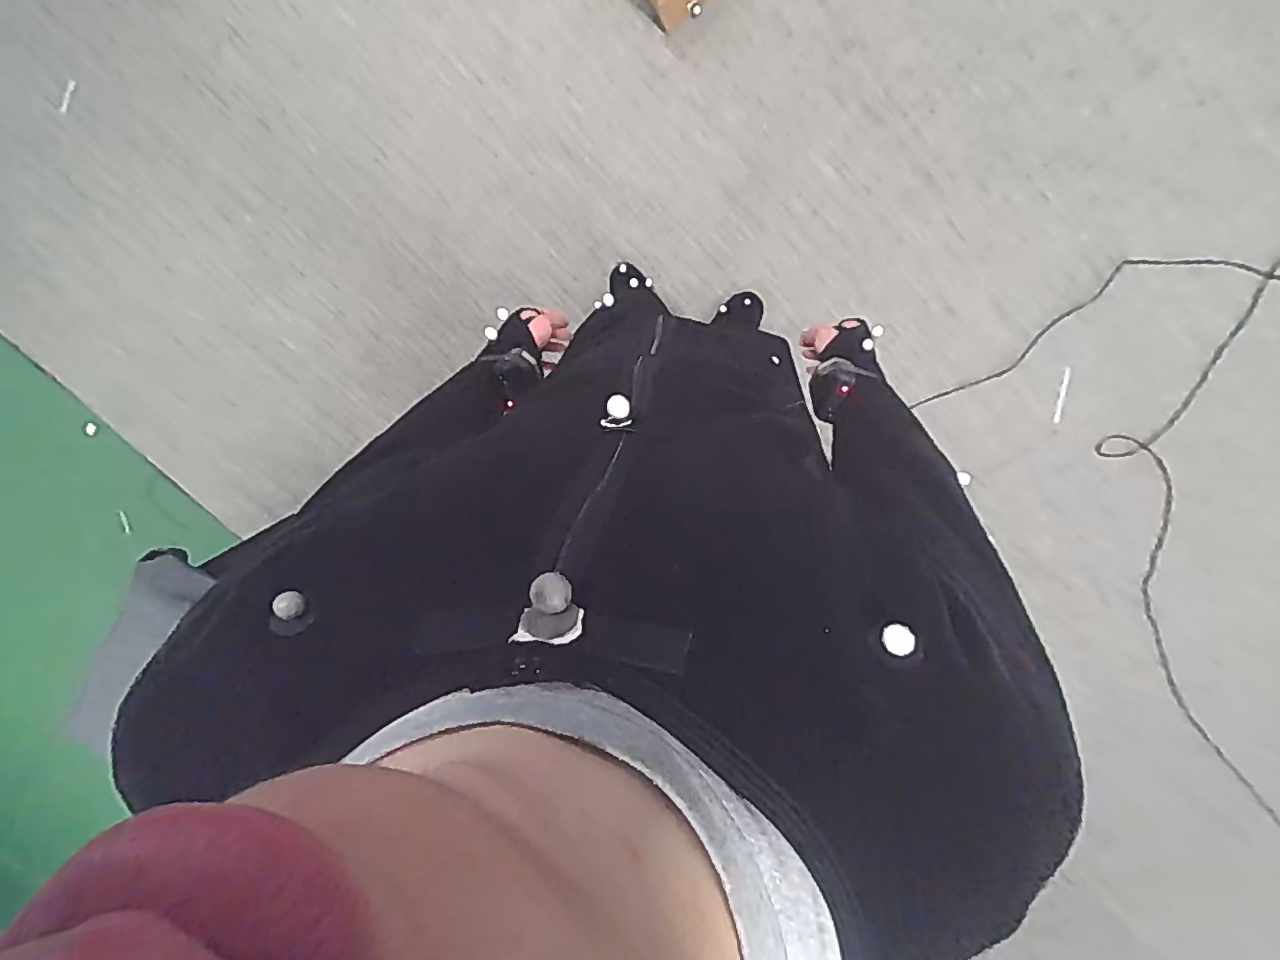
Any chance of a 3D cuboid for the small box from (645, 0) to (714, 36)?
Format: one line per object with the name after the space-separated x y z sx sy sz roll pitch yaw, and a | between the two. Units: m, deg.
0.067 -1.085 1.121 0.168 0.176 0.179 -31 104 21 | small box
